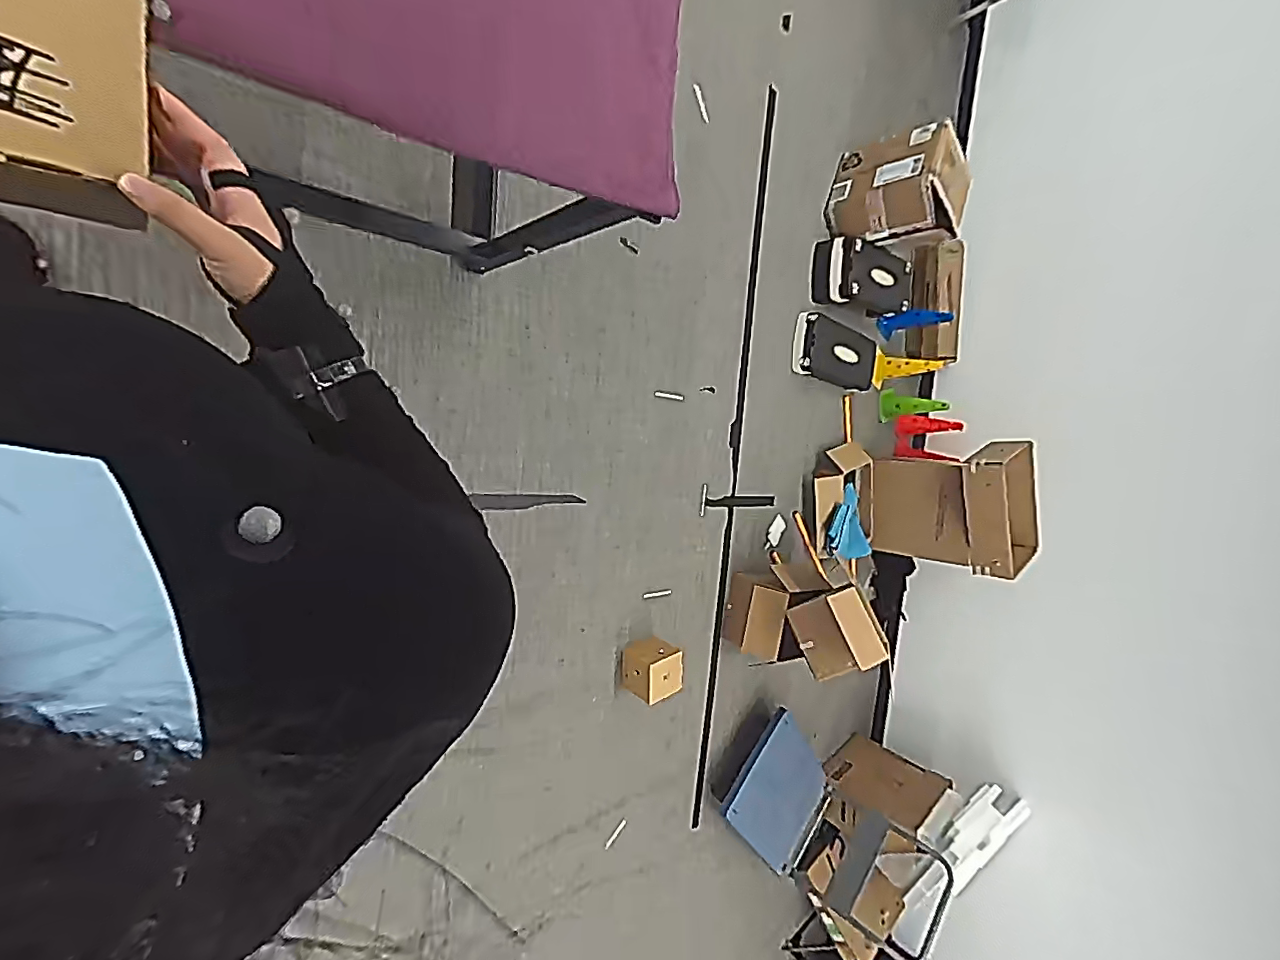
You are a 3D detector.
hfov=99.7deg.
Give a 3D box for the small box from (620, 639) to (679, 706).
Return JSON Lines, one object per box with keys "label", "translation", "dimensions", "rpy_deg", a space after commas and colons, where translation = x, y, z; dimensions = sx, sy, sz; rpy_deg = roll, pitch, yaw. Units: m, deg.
{"label": "small box", "translation": [0.034, 0.747, 2.120], "dimensions": [0.179, 0.176, 0.168], "rpy_deg": [-9, 103, -42]}
